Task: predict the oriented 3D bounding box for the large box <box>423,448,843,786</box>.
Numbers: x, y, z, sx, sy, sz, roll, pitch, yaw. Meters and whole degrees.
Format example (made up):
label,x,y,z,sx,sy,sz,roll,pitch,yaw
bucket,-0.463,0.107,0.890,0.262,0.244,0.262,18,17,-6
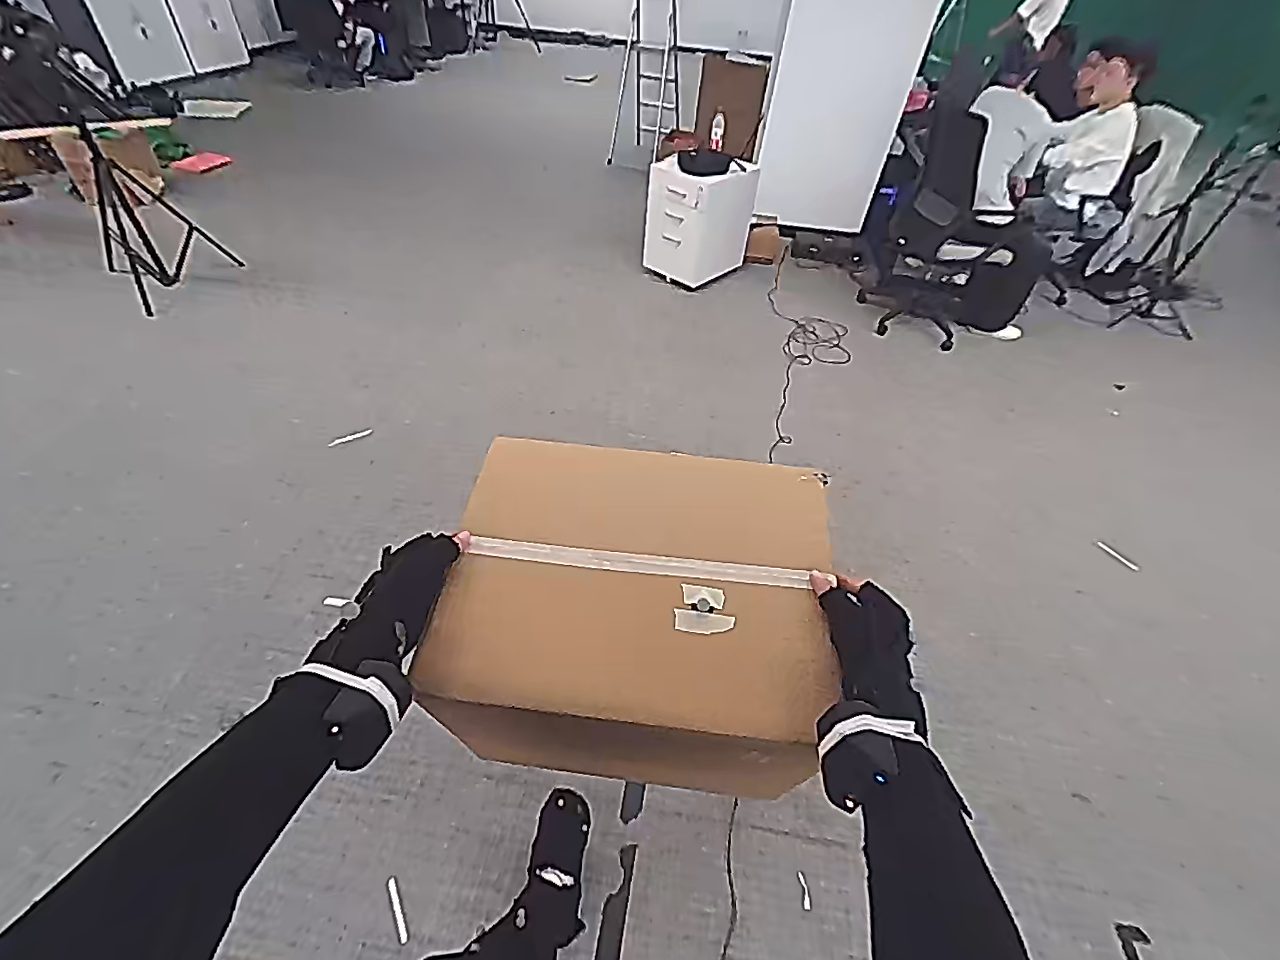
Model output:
label,x,y,z,sx,sy,sz,roll,pitch,yaw
large box,-0.001,0.186,0.708,0.408,0.320,0.320,6,53,3
